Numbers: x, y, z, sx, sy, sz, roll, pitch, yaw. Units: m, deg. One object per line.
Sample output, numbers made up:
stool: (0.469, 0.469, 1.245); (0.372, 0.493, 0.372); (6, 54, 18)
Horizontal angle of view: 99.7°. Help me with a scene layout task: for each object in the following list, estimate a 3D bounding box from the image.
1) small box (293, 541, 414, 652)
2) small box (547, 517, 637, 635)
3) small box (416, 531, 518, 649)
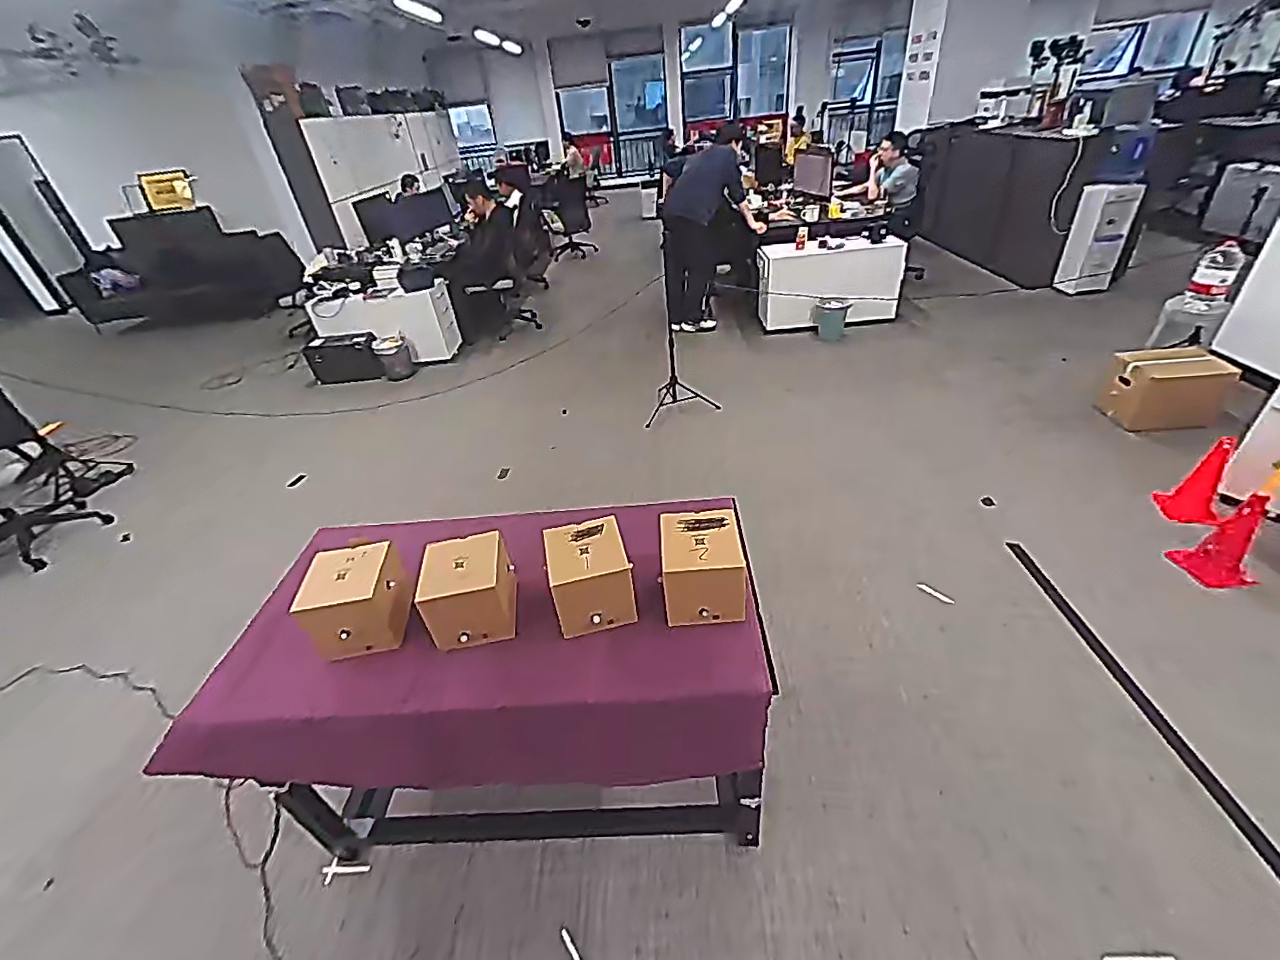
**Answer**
small box: (-0.625, 0.264, 1.205); (0.168, 0.176, 0.179); (-8, 35, -4)
small box: (-0.107, 0.211, 1.197); (0.168, 0.176, 0.179); (-12, 36, -7)
small box: (-0.372, 0.242, 1.198); (0.168, 0.176, 0.179); (-10, 35, -4)
